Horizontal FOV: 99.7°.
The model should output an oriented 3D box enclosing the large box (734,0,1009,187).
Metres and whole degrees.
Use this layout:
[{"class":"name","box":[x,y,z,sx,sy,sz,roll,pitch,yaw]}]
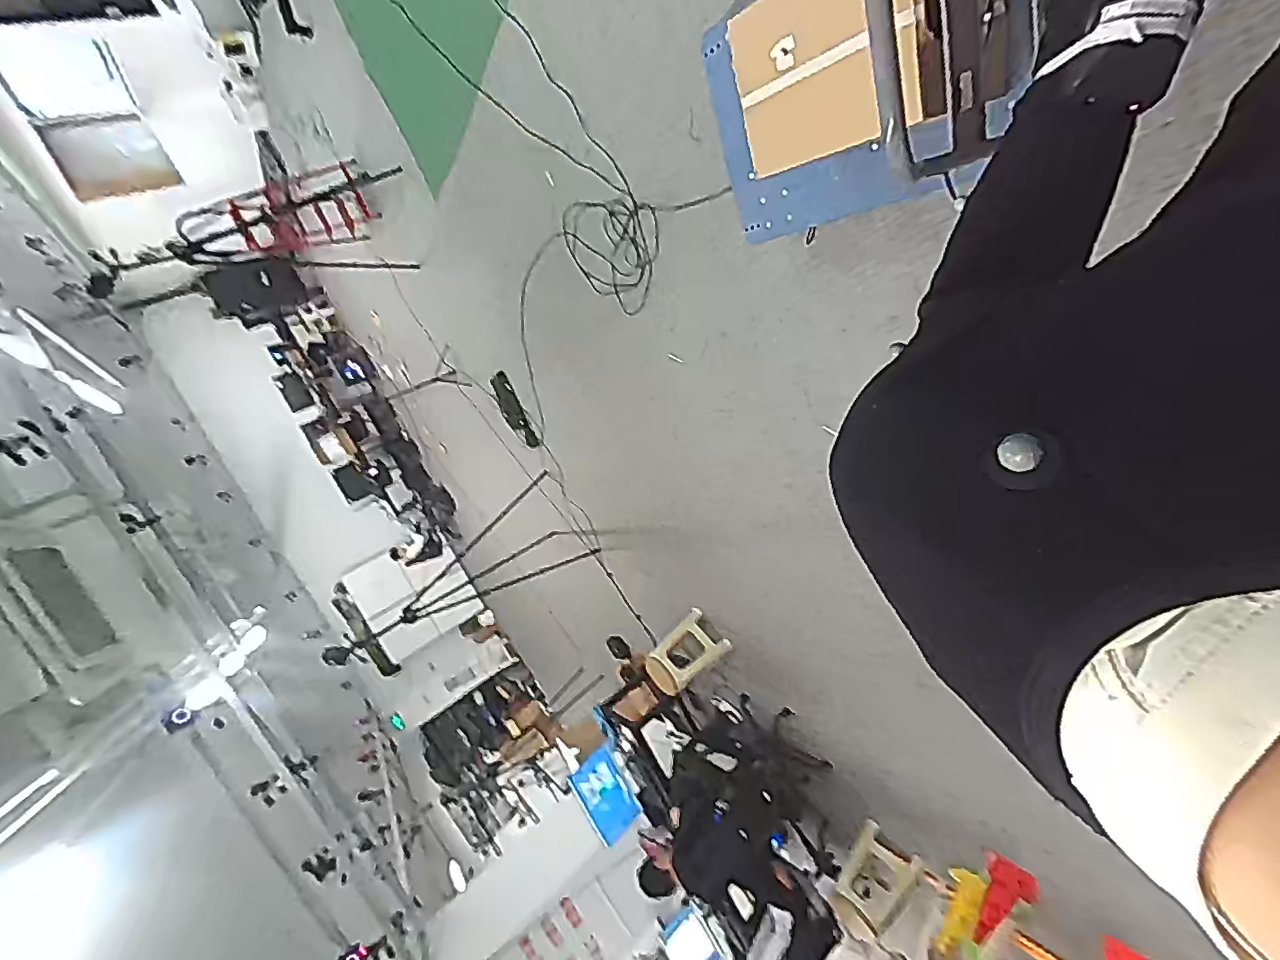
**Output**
[{"class":"large box","box":[0.468,-0.853,1.113,0.408,0.320,0.320,19,132,54]}]
